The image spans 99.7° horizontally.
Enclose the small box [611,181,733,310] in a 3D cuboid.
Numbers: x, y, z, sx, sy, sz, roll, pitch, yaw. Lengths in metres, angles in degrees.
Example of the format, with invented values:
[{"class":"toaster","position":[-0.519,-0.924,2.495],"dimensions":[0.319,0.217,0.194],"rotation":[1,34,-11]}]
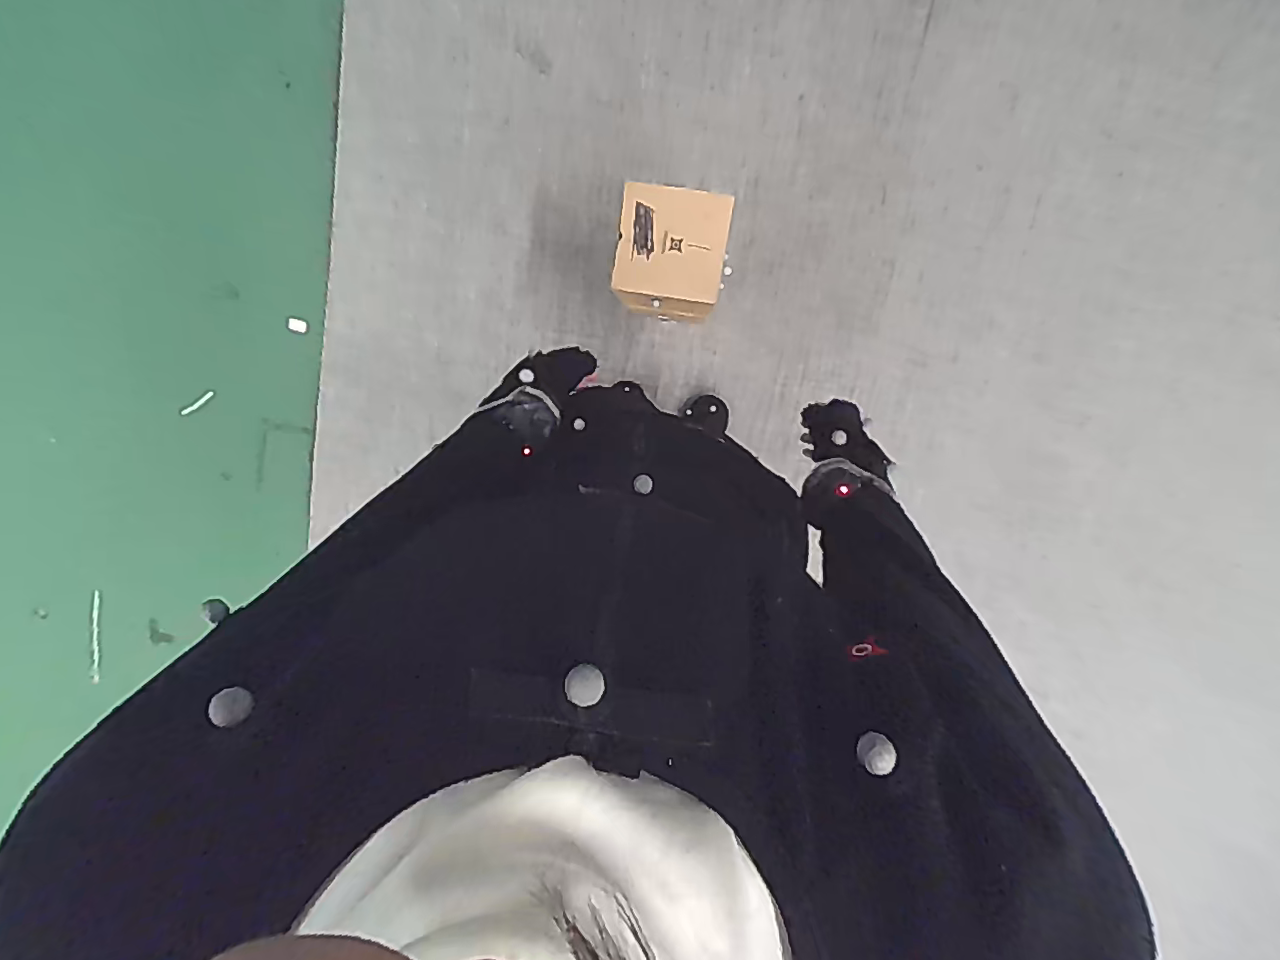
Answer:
[{"class":"small box","position":[0.058,-0.400,0.951],"dimensions":[0.179,0.176,0.168],"rotation":[10,102,4]}]

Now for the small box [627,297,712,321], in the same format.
[{"class":"small box","position":[0.075,-0.428,1.095],"dimensions":[0.168,0.176,0.179],"rotation":[10,103,5]}]
